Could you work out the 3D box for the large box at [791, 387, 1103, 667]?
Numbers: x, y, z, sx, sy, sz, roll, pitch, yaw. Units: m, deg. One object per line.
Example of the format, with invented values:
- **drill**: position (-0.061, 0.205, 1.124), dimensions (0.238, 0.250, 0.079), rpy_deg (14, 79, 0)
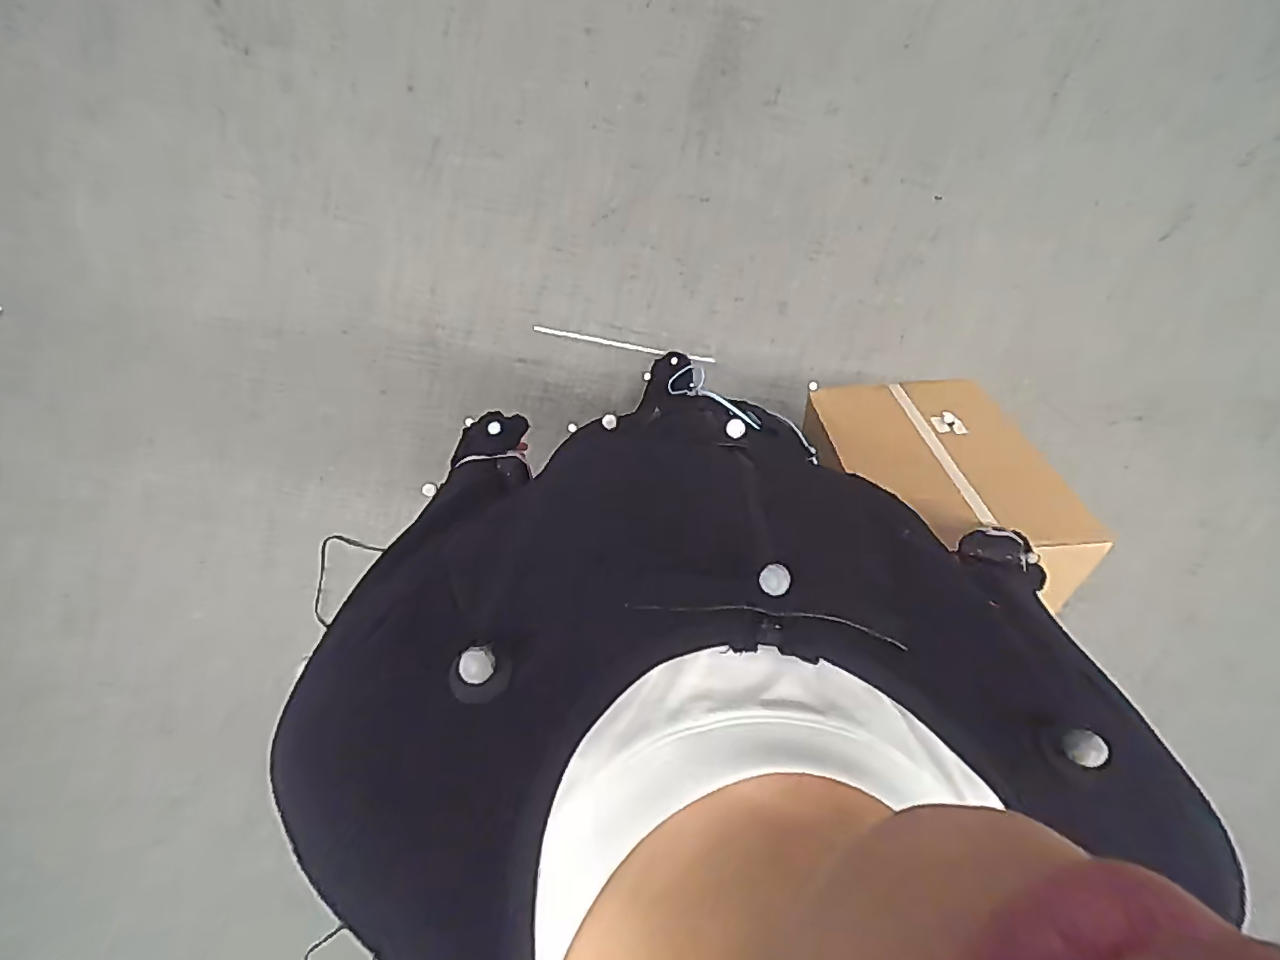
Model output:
- **large box**: position (0.491, 0.075, 0.989), dimensions (0.320, 0.408, 0.320), rpy_deg (-4, 132, 0)
